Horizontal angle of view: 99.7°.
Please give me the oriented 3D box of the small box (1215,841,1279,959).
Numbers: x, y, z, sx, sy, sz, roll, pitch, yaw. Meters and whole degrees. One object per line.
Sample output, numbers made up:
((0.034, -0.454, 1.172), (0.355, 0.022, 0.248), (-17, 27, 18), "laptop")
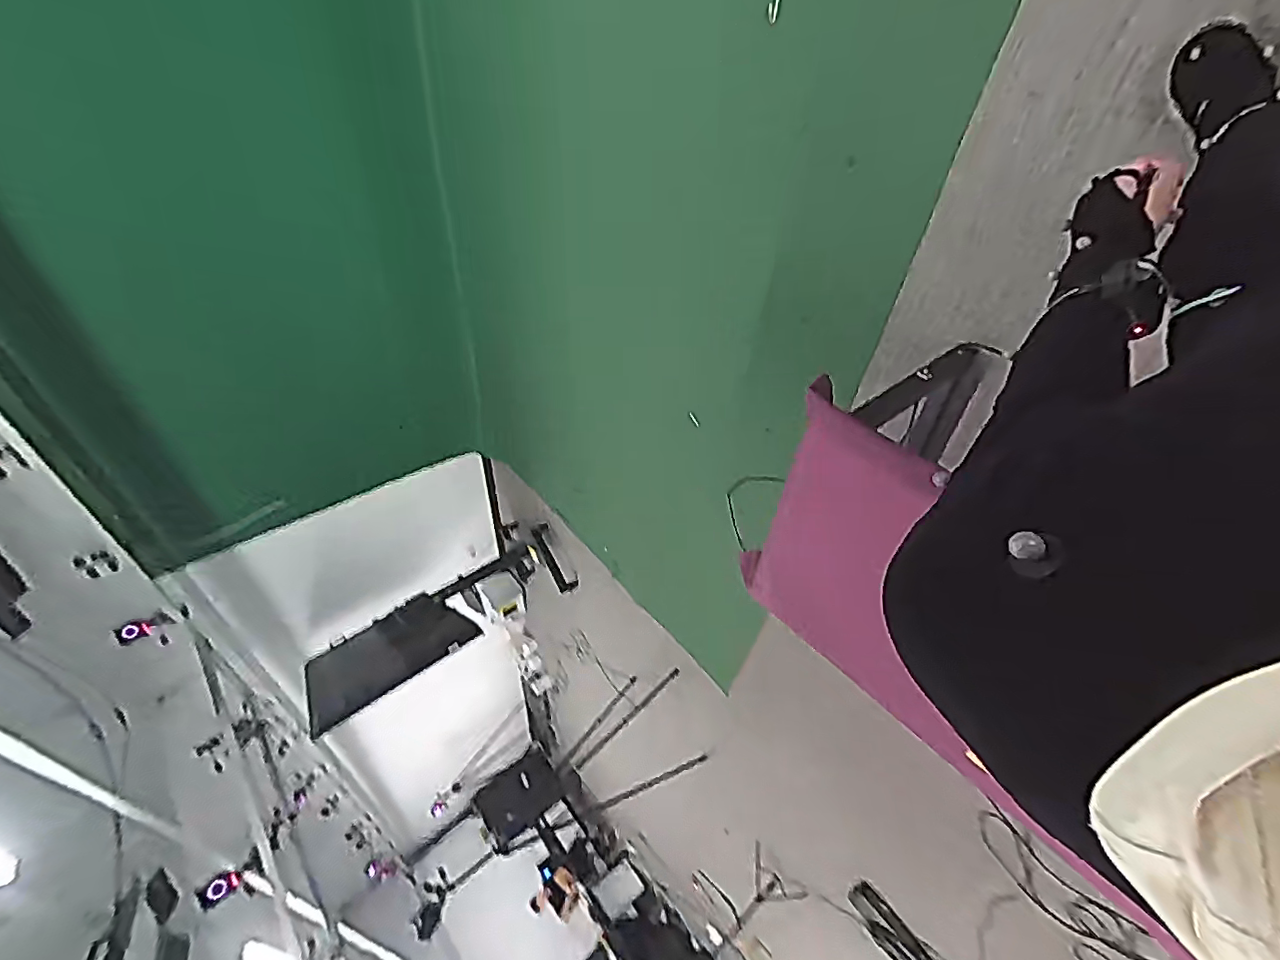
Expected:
((0.936, 0.605, 0.712), (0.168, 0.176, 0.179), (37, 141, 35), "small box")
